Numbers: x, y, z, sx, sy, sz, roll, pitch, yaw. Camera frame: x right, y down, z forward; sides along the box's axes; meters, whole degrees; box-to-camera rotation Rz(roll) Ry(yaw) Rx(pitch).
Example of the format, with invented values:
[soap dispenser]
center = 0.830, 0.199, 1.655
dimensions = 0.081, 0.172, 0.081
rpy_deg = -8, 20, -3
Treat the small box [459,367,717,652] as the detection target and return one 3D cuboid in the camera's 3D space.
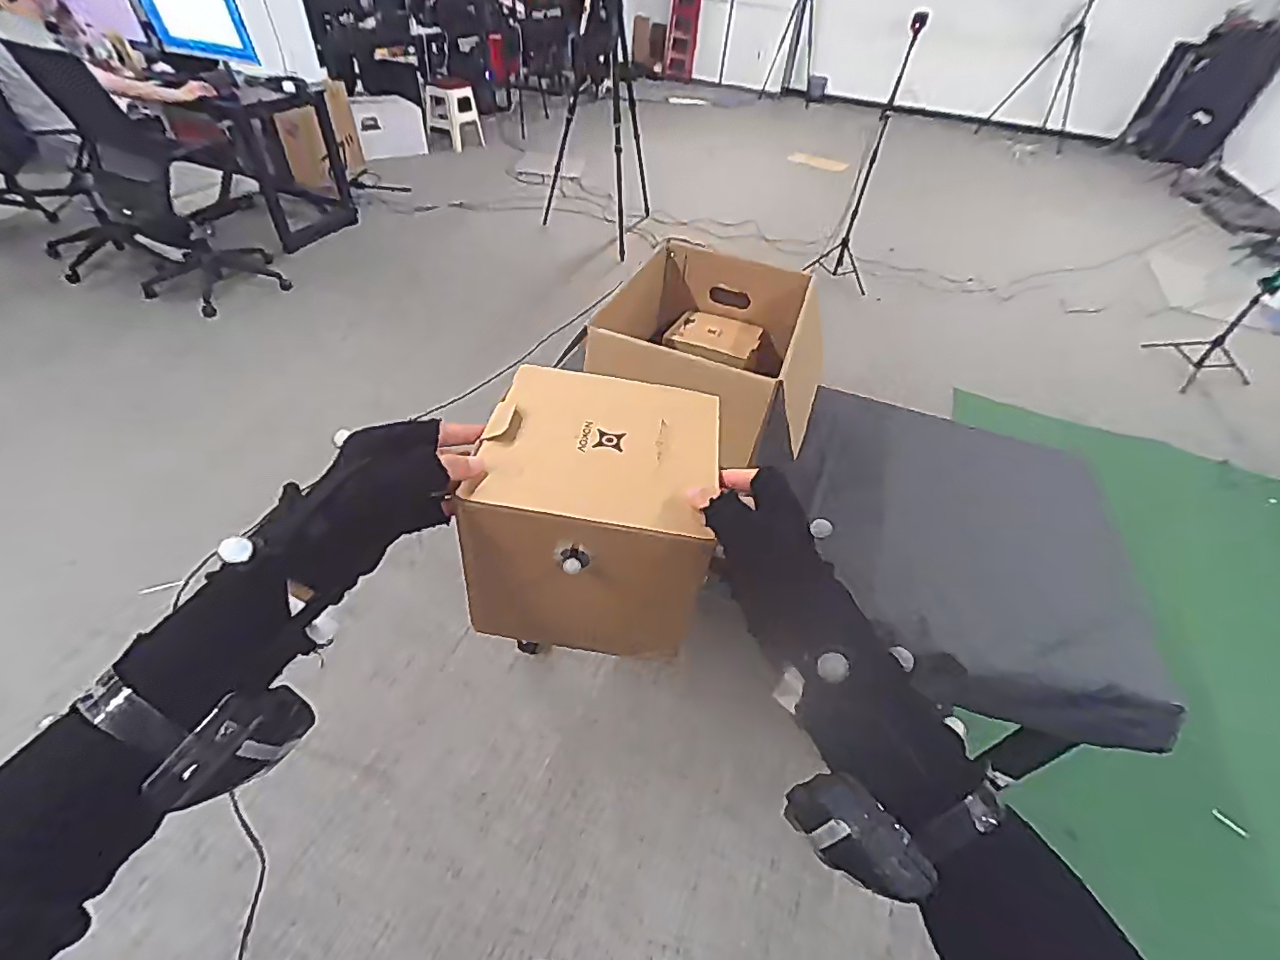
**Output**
[small box]
center = -0.037, 0.028, 0.469
dimensions = 0.179, 0.176, 0.168
rpy_deg = 10, 44, -1
